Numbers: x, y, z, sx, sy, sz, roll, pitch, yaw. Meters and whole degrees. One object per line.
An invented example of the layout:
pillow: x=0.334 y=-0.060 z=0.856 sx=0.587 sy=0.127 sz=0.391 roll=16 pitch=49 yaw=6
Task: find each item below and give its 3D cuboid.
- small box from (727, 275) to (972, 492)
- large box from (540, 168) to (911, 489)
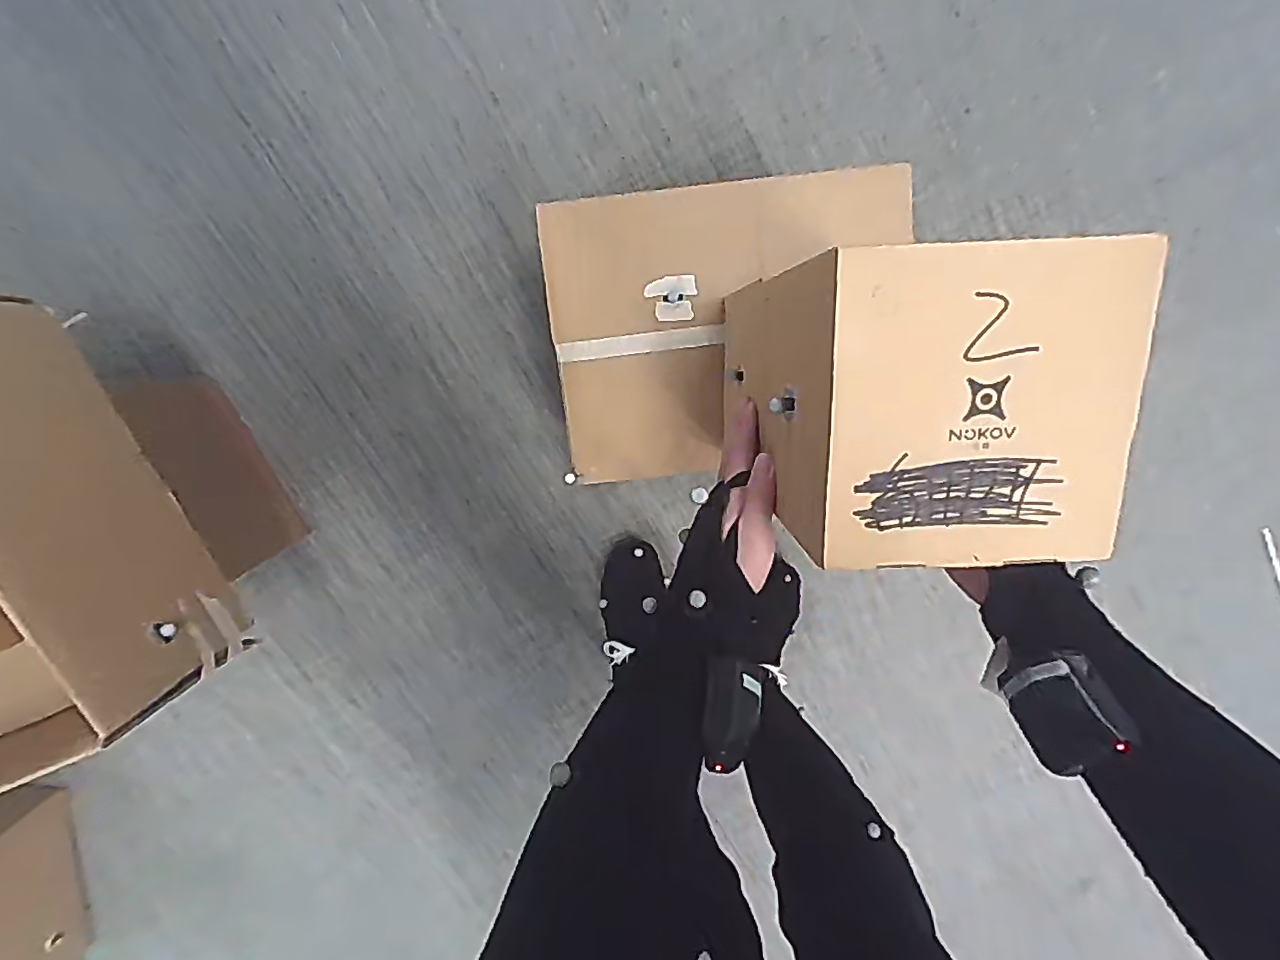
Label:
small box: x=0.180 y=-0.095 z=0.522 sx=0.168 sy=0.176 sz=0.179 roll=-2 pitch=104 yaw=-1
large box: x=0.106 y=-0.196 z=0.753 sx=0.408 sy=0.320 sz=0.320 roll=-6 pitch=103 yaw=1
